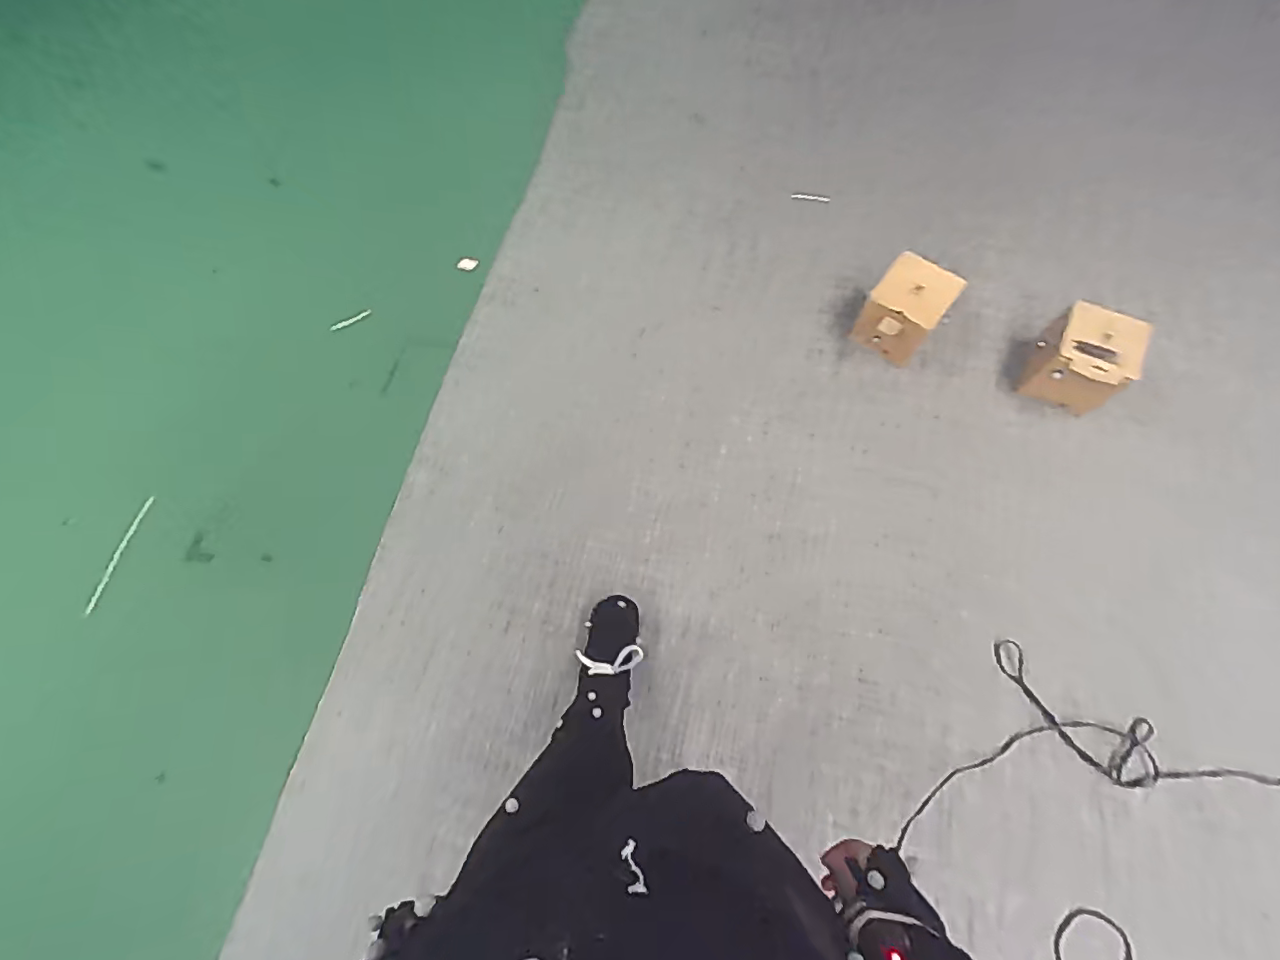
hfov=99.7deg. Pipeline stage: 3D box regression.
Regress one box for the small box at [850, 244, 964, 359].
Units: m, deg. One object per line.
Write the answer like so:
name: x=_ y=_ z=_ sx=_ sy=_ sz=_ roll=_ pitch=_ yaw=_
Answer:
small box: x=0.659 y=-0.441 z=1.356 sx=0.168 sy=0.176 sz=0.179 roll=36 pitch=77 yaw=14
